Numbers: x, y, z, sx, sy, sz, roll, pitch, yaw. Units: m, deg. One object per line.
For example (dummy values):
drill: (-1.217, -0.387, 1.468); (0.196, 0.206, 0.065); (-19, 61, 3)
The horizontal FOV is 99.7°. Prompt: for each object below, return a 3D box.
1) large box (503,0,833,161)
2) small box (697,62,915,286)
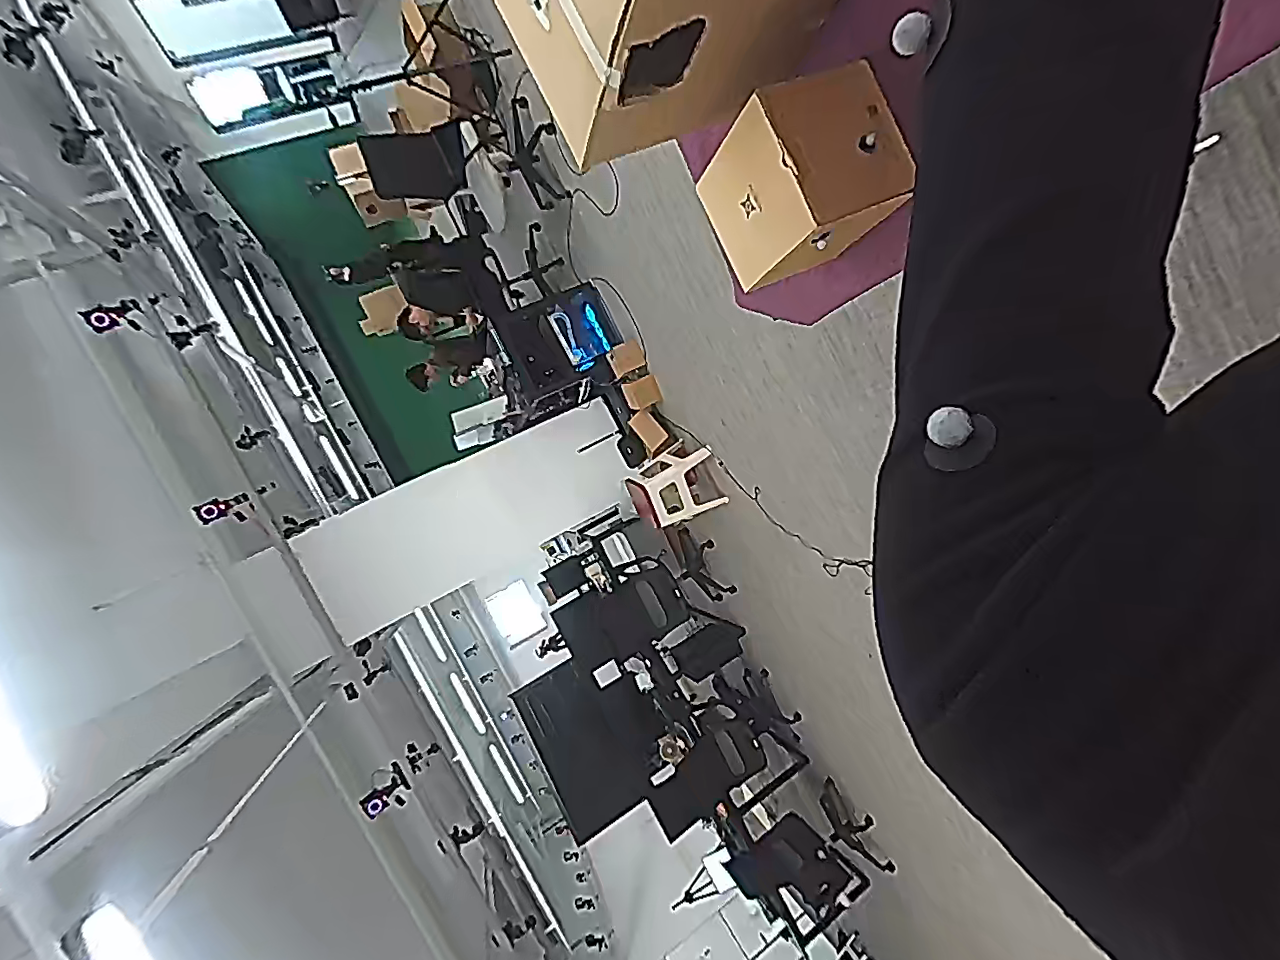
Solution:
large box: (0.009, -0.667, 0.588); (0.408, 0.320, 0.320); (60, 164, -3)
small box: (0.206, -0.383, 0.695); (0.168, 0.176, 0.179); (63, 163, -1)
